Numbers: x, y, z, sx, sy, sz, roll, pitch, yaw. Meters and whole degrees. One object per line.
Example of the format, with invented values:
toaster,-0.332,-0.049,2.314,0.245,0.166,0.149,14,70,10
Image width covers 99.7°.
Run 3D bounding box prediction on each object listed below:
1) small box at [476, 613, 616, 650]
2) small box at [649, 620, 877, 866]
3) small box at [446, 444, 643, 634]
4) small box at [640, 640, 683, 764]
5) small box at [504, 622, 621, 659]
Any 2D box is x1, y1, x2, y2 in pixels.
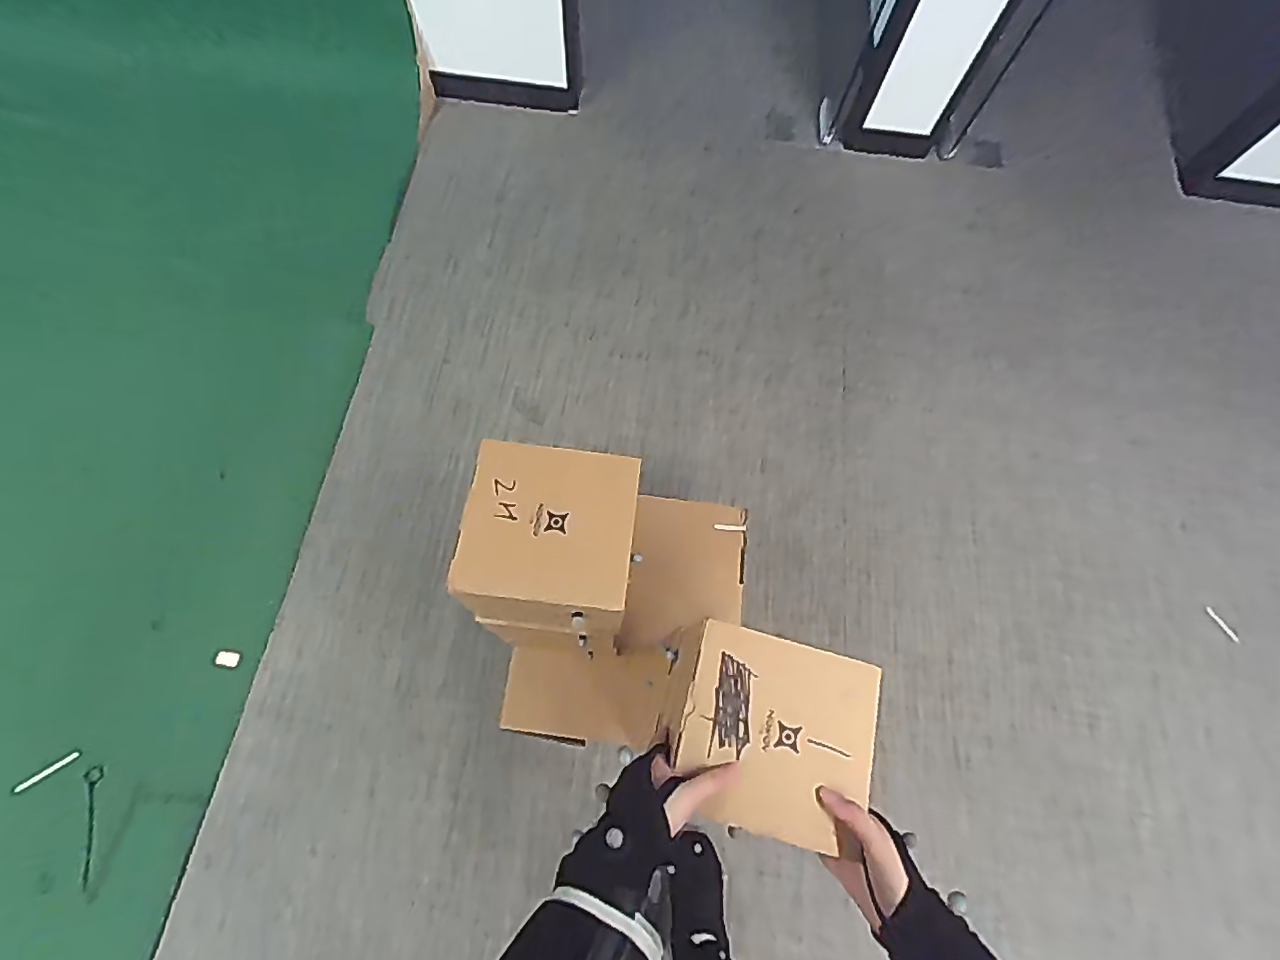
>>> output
small box,-0.116,0.144,0.775,0.179,0.176,0.168,7,66,-2
small box,0.115,0.259,0.560,0.179,0.176,0.168,16,69,1
small box,-0.097,0.078,0.625,0.179,0.176,0.168,8,66,0
small box,0.096,0.370,0.870,0.168,0.176,0.179,11,68,1
small box,-0.118,0.209,0.924,0.179,0.176,0.168,5,67,-1
